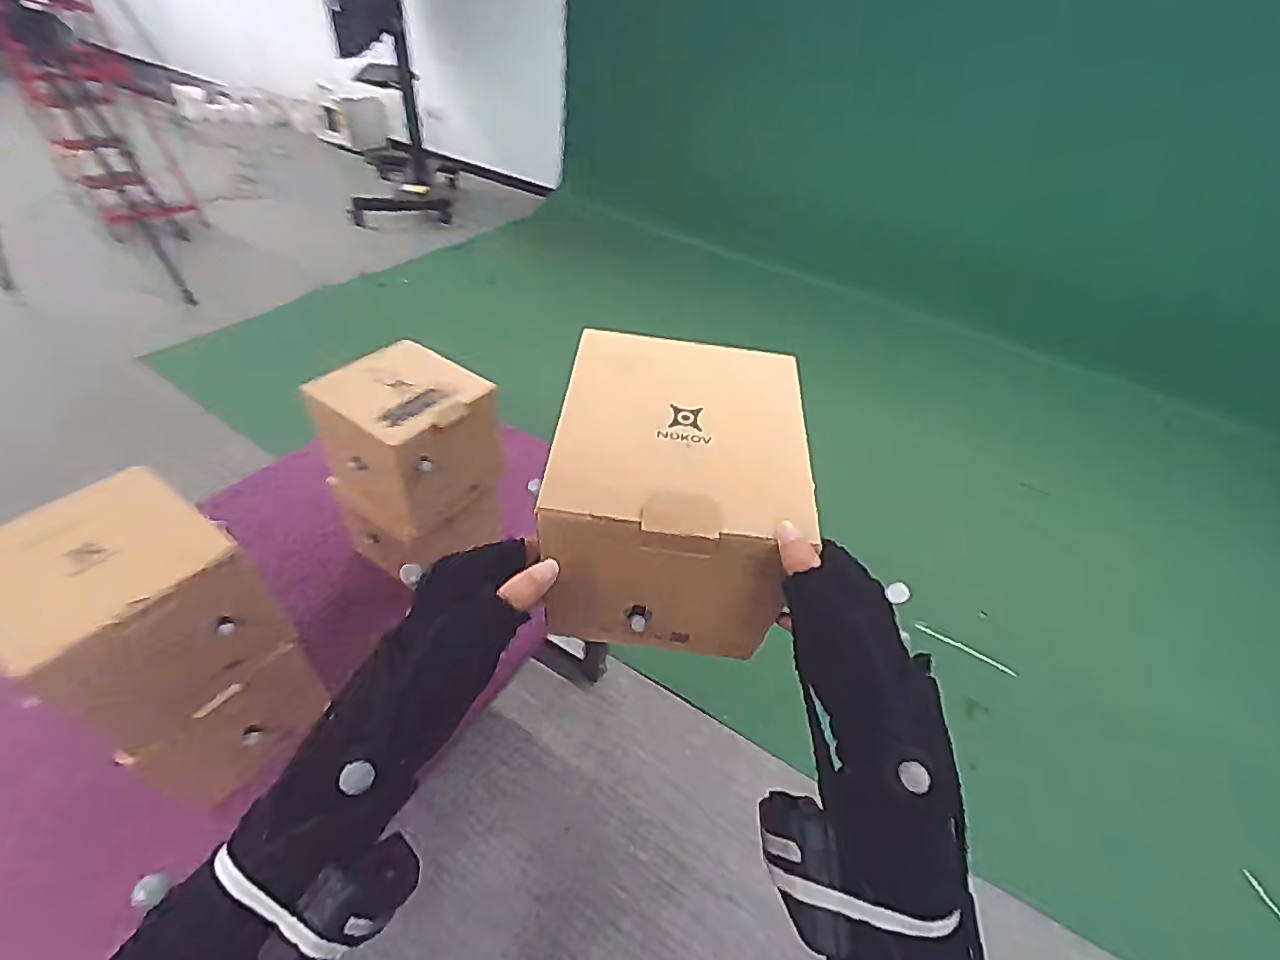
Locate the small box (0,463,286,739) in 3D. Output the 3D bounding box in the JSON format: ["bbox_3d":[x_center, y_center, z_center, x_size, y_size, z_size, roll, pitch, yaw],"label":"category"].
[{"bbox_3d":[-0.494,0.121,0.529,0.179,0.176,0.168,29,47,19],"label":"small box"}]

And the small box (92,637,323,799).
[{"bbox_3d":[-0.515,0.241,0.638,0.179,0.176,0.168,30,48,19],"label":"small box"}]

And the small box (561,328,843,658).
[{"bbox_3d":[0.036,0.014,0.417,0.168,0.176,0.179,9,52,0],"label":"small box"}]

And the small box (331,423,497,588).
[{"bbox_3d":[-0.346,0.045,0.861,0.179,0.176,0.168,31,47,20],"label":"small box"}]
